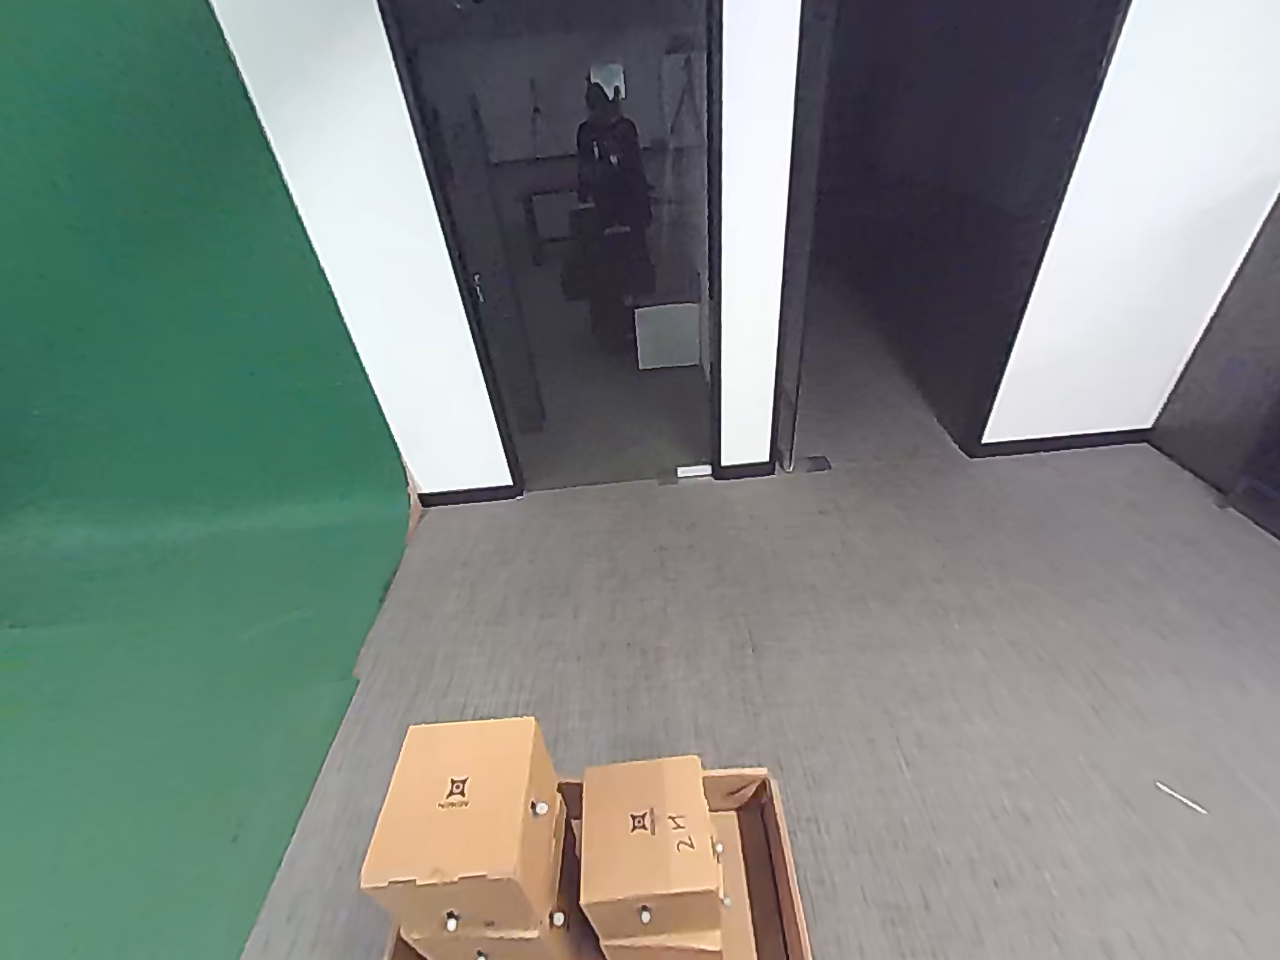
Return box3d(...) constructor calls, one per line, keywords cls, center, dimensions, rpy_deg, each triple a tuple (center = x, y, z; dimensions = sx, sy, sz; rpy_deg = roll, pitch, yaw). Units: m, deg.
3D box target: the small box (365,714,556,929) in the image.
box3d(cls="small box", center=(-0.202, 0.419, 0.671), dimensions=(0.168, 0.176, 0.179), rpy_deg=(-5, 37, 1))
